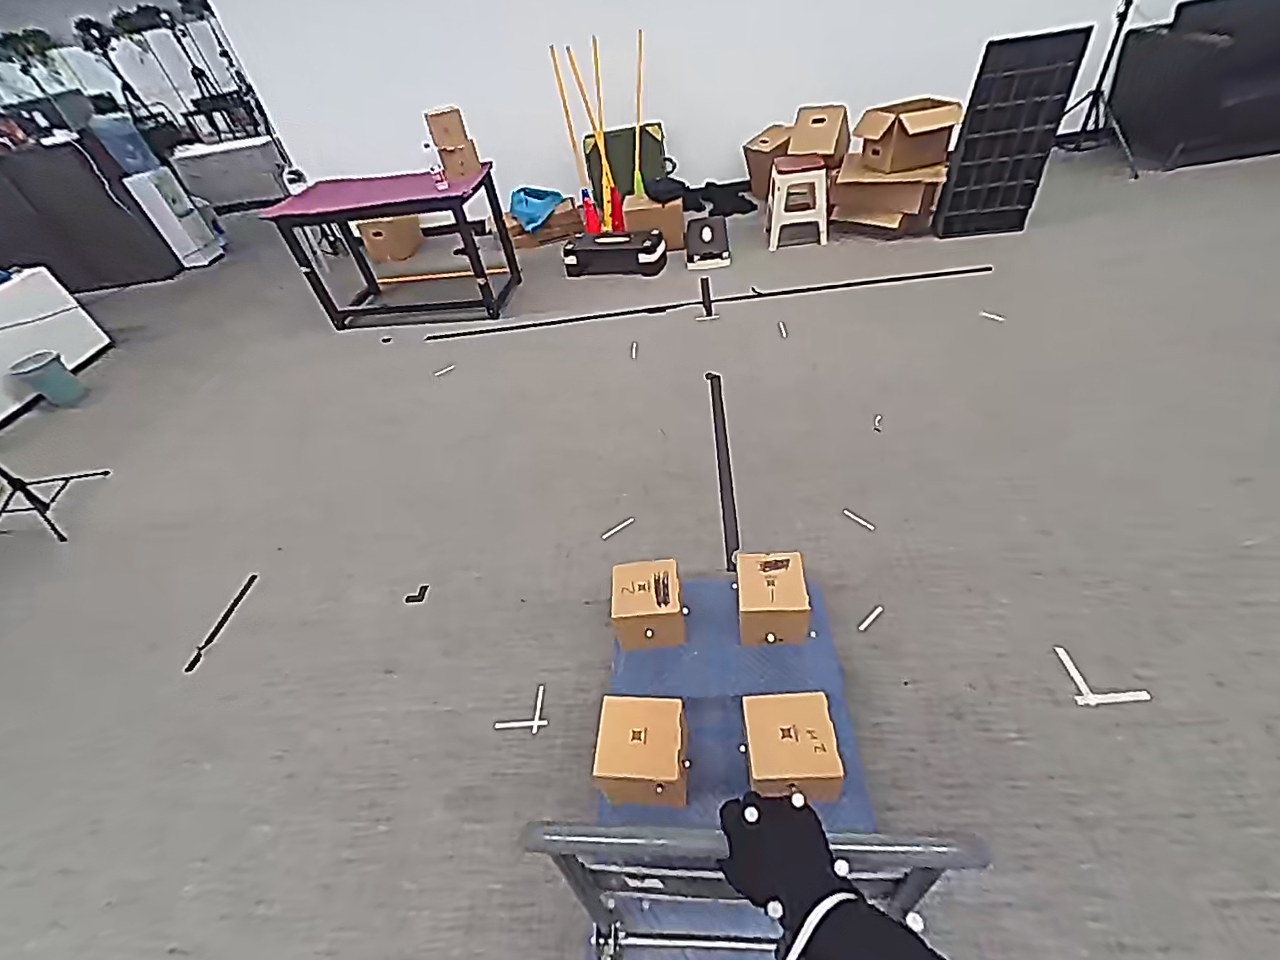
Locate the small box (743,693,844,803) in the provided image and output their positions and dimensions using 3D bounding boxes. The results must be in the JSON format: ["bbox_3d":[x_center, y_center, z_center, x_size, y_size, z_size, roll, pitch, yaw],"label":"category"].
[{"bbox_3d":[0.317,0.571,1.147,0.179,0.176,0.168,-5,44,6],"label":"small box"}]

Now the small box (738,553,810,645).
[{"bbox_3d":[0.342,0.310,1.414,0.168,0.176,0.179,-3,45,9],"label":"small box"}]

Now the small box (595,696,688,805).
[{"bbox_3d":[0.010,0.593,1.184,0.179,0.176,0.168,-1,43,8],"label":"small box"}]
